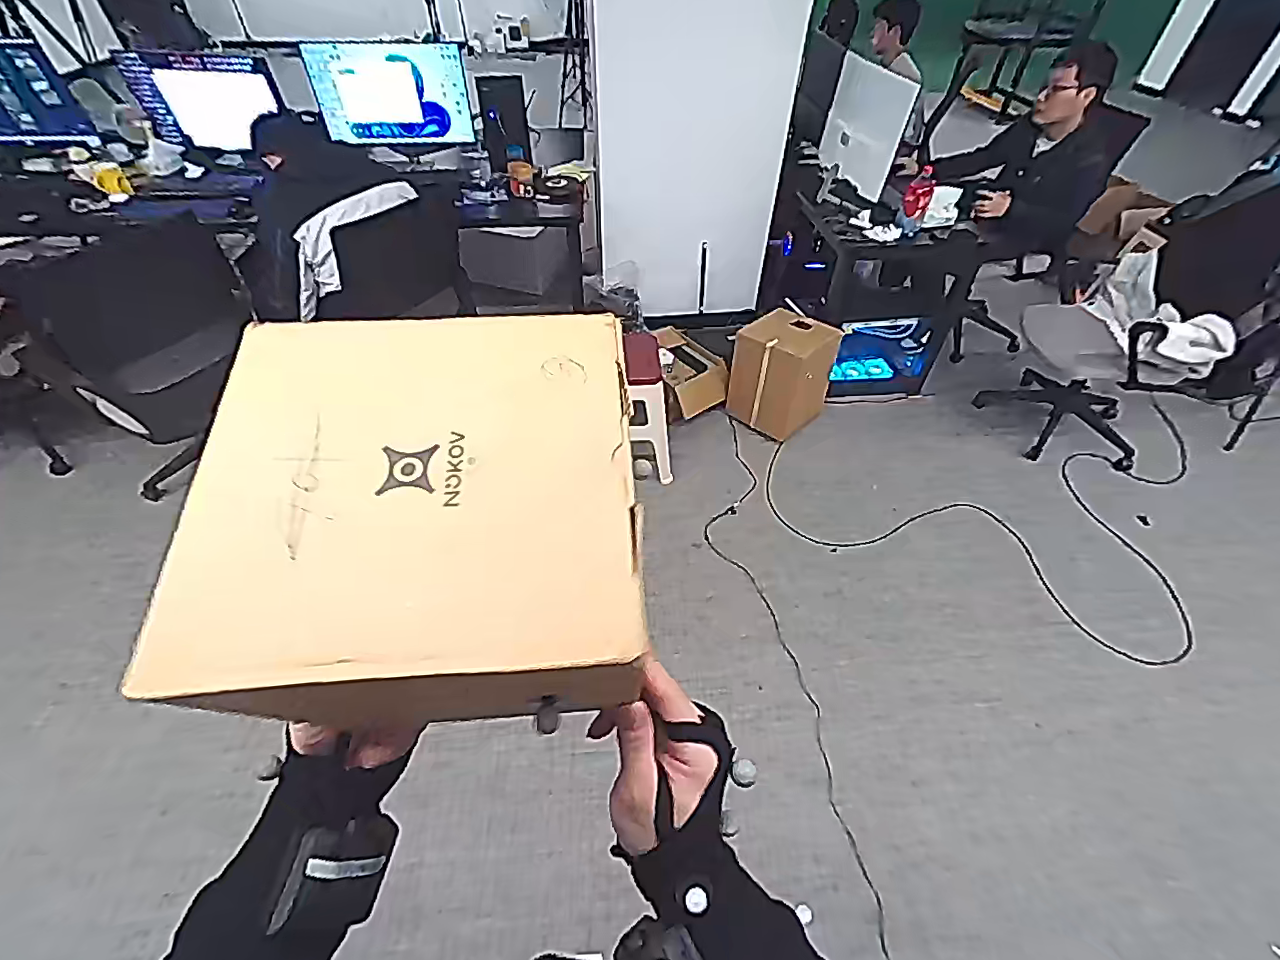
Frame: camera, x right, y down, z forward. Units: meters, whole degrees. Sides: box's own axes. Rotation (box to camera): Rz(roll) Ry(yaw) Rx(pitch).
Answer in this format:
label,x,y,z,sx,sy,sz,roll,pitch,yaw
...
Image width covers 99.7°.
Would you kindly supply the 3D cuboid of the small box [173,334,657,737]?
label,x,y,z,sx,sy,sz,roll,pitch,yaw
small box,-0.091,0.042,0.305,0.179,0.176,0.168,-6,61,-5
